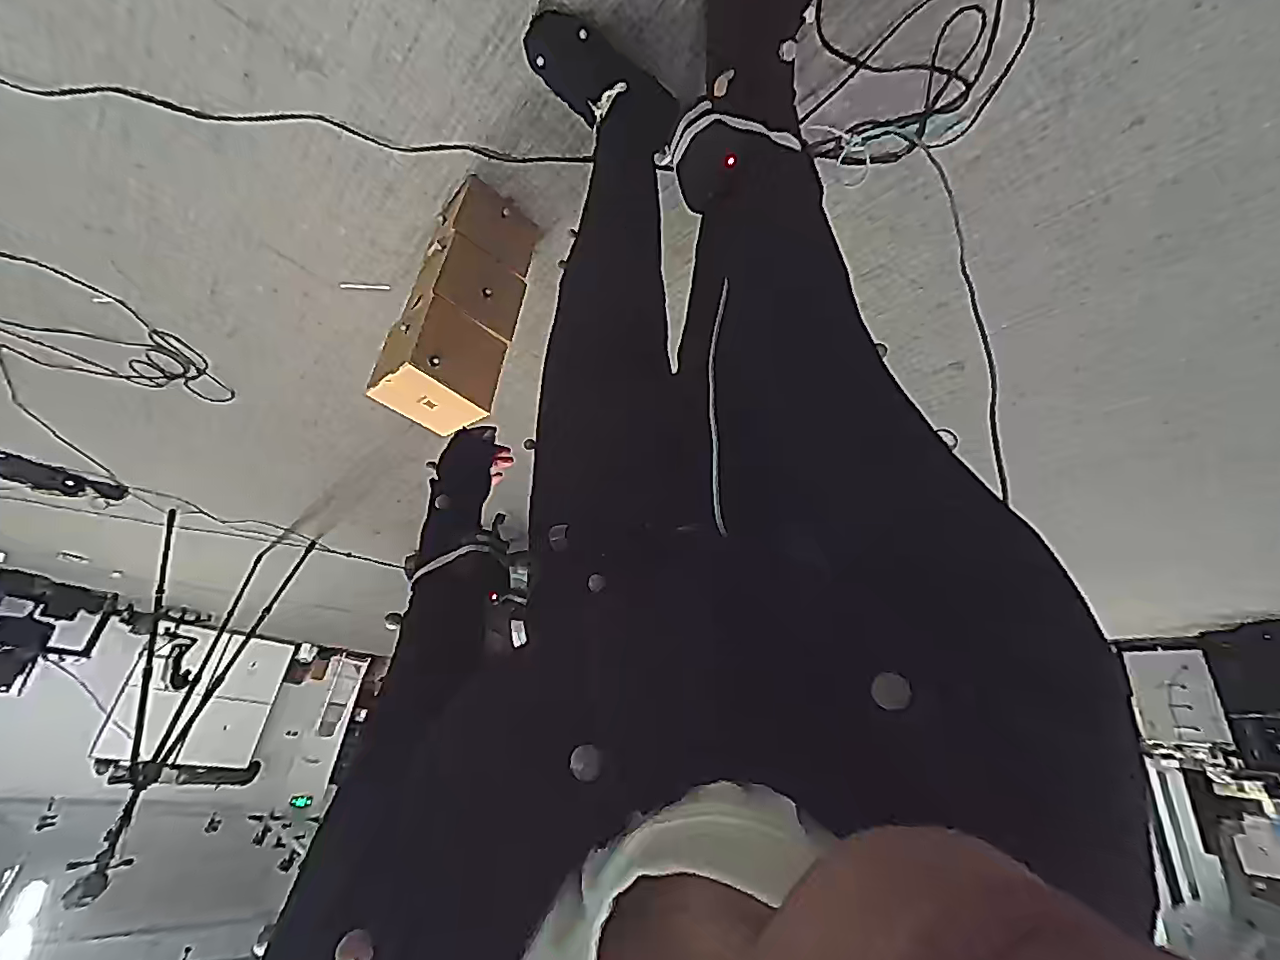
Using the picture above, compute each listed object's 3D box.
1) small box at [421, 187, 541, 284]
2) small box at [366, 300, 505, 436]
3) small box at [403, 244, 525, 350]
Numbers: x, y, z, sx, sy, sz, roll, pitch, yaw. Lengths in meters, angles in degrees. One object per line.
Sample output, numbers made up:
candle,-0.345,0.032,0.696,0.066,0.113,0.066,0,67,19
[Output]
small box,-0.349,-0.510,1.200,0.179,0.176,0.168,29,149,-33
small box,-0.392,-0.215,1.060,0.168,0.176,0.179,-16,145,37
small box,-0.367,-0.360,1.130,0.168,0.176,0.179,-20,144,41
